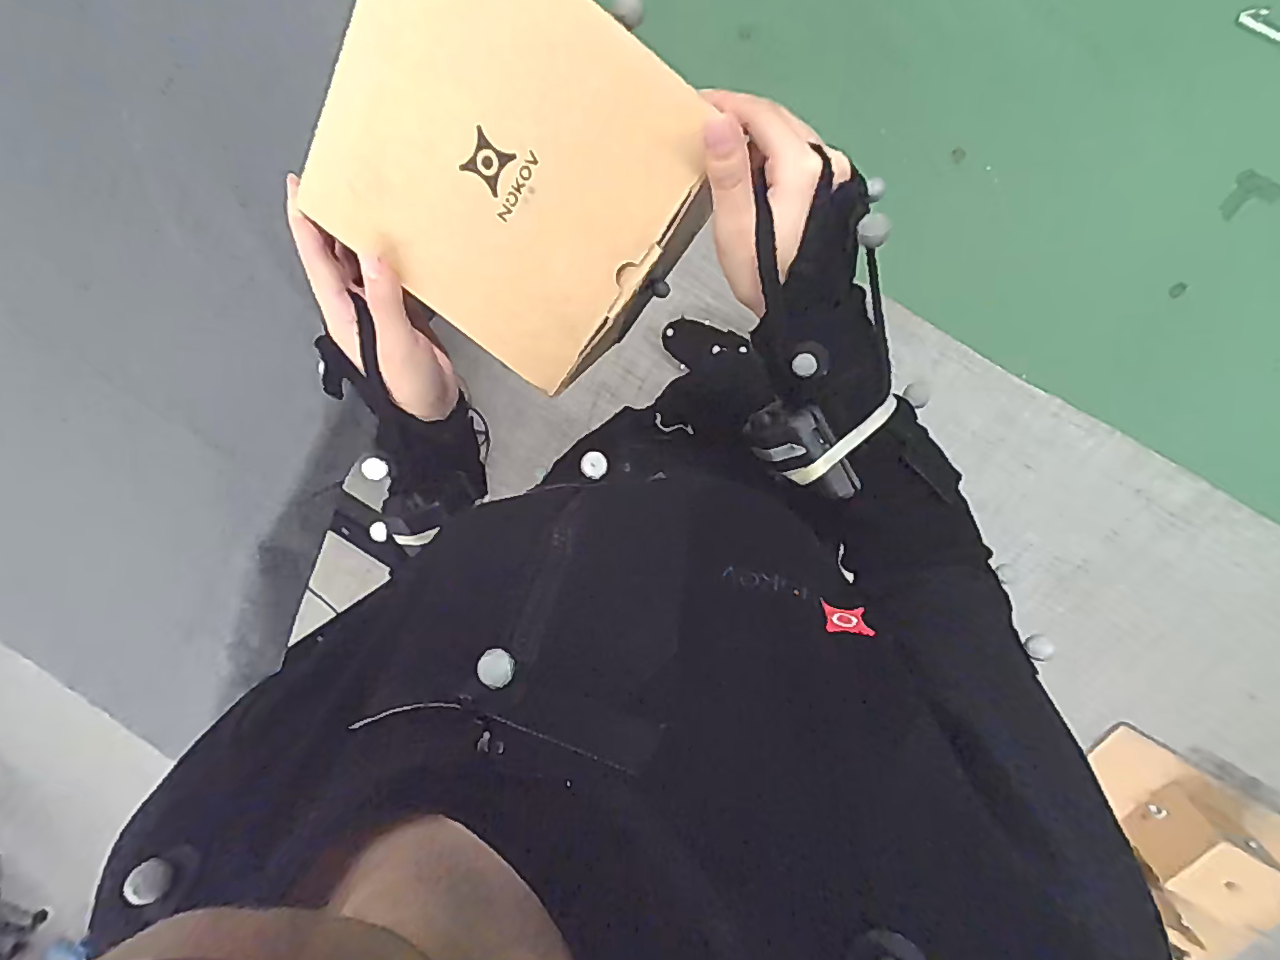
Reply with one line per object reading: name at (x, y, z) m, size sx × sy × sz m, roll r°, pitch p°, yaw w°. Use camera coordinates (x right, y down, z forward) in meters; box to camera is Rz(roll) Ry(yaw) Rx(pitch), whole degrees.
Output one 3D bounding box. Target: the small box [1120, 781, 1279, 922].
small box at (1.271, 0.833, 1.228) m, size 0.179 × 0.176 × 0.168 m, roll 30°, pitch 108°, yaw 4°
